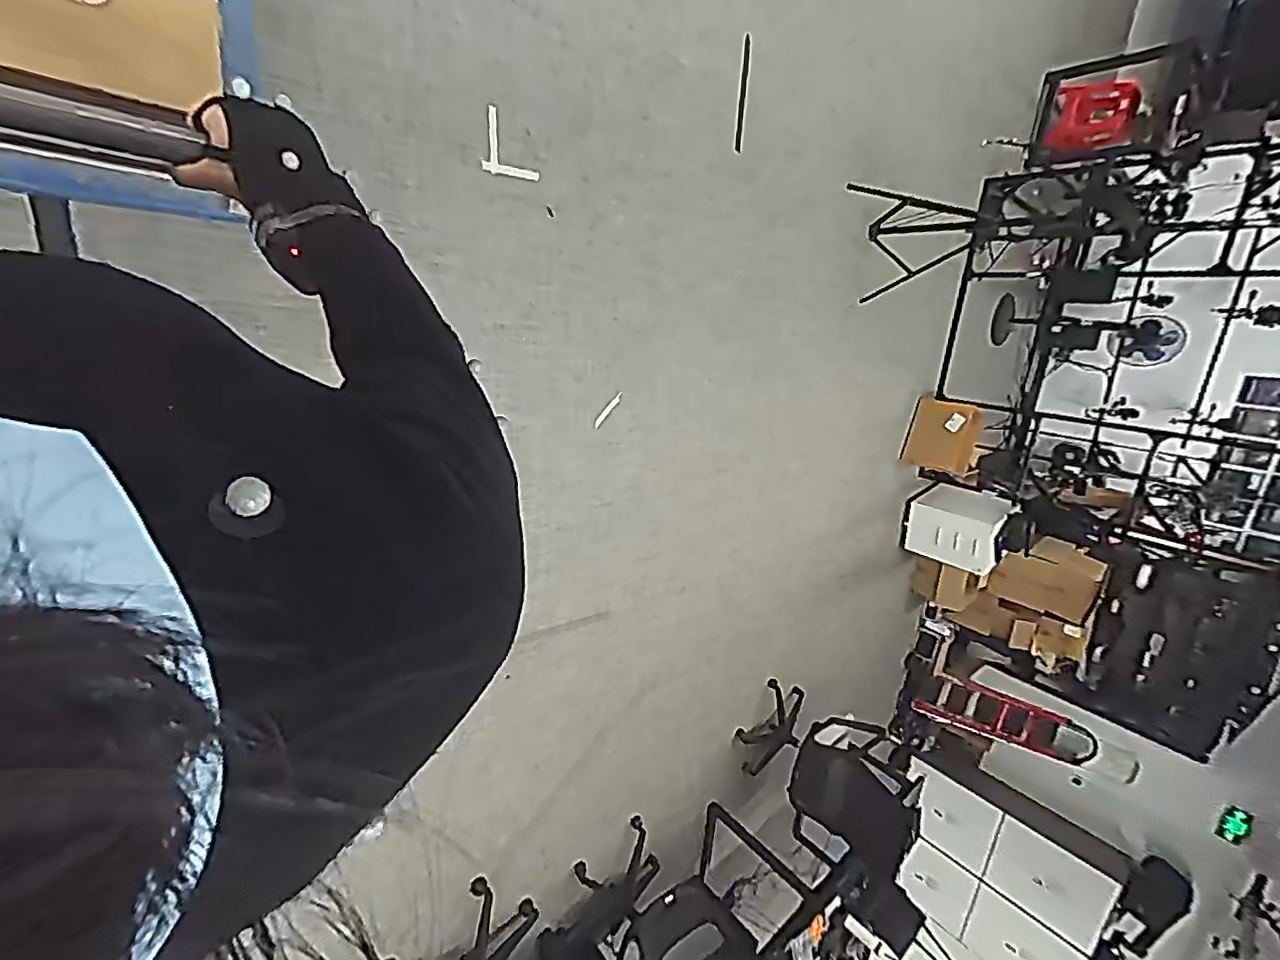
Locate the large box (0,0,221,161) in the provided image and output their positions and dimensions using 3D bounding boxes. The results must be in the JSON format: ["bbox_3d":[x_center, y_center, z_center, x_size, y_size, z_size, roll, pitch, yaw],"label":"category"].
[{"bbox_3d":[-0.813,-0.643,0.678,0.408,0.320,0.320,-9,111,-42],"label":"large box"}]
